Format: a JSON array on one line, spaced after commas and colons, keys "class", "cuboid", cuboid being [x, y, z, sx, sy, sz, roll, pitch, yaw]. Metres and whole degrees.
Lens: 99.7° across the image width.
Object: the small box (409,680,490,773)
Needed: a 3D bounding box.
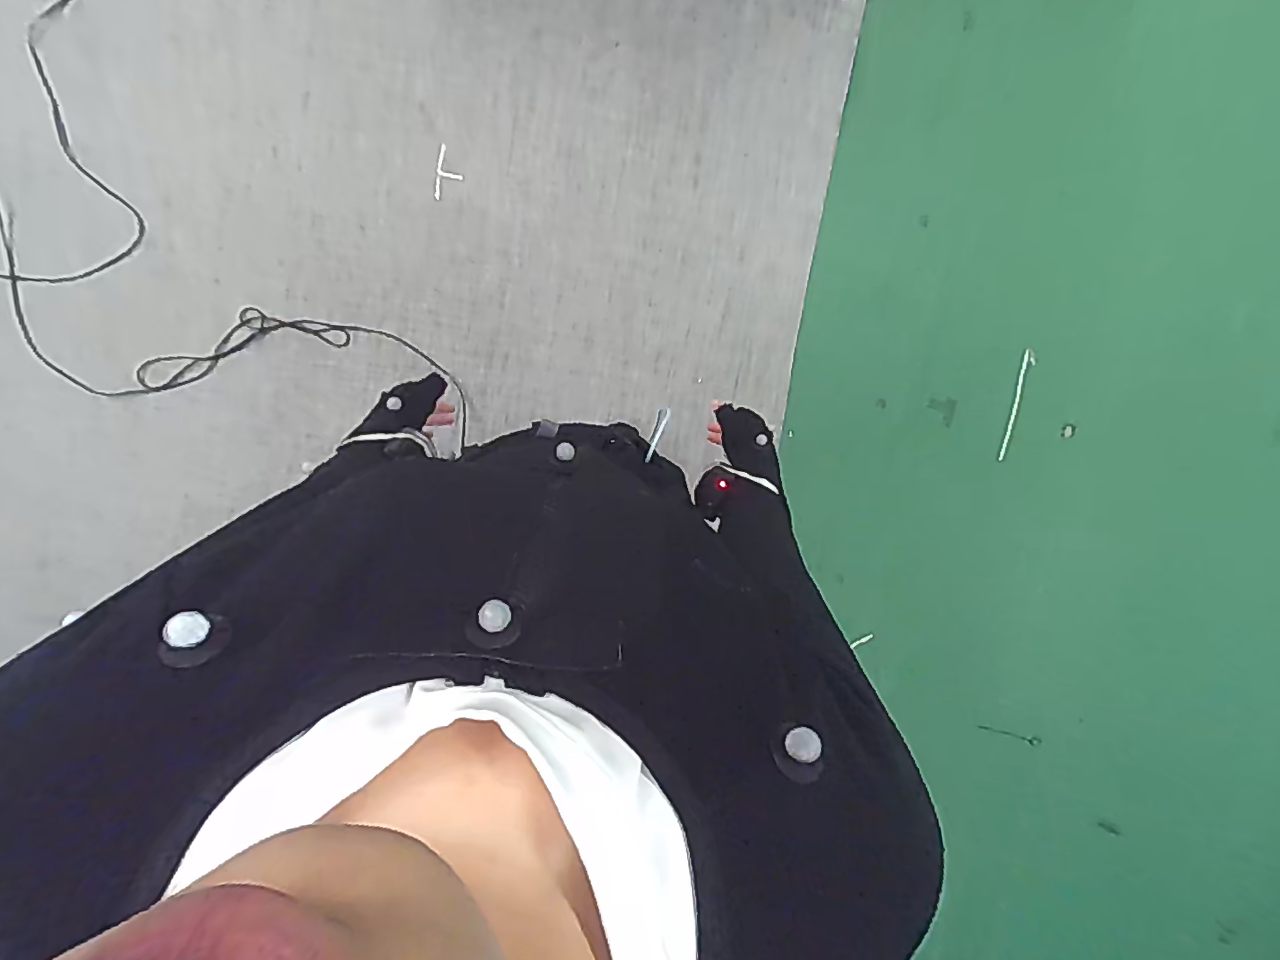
[{"class": "small box", "cuboid": [-0.493, 0.645, 1.391, 0.168, 0.176, 0.179, 10, 97, -5]}]
